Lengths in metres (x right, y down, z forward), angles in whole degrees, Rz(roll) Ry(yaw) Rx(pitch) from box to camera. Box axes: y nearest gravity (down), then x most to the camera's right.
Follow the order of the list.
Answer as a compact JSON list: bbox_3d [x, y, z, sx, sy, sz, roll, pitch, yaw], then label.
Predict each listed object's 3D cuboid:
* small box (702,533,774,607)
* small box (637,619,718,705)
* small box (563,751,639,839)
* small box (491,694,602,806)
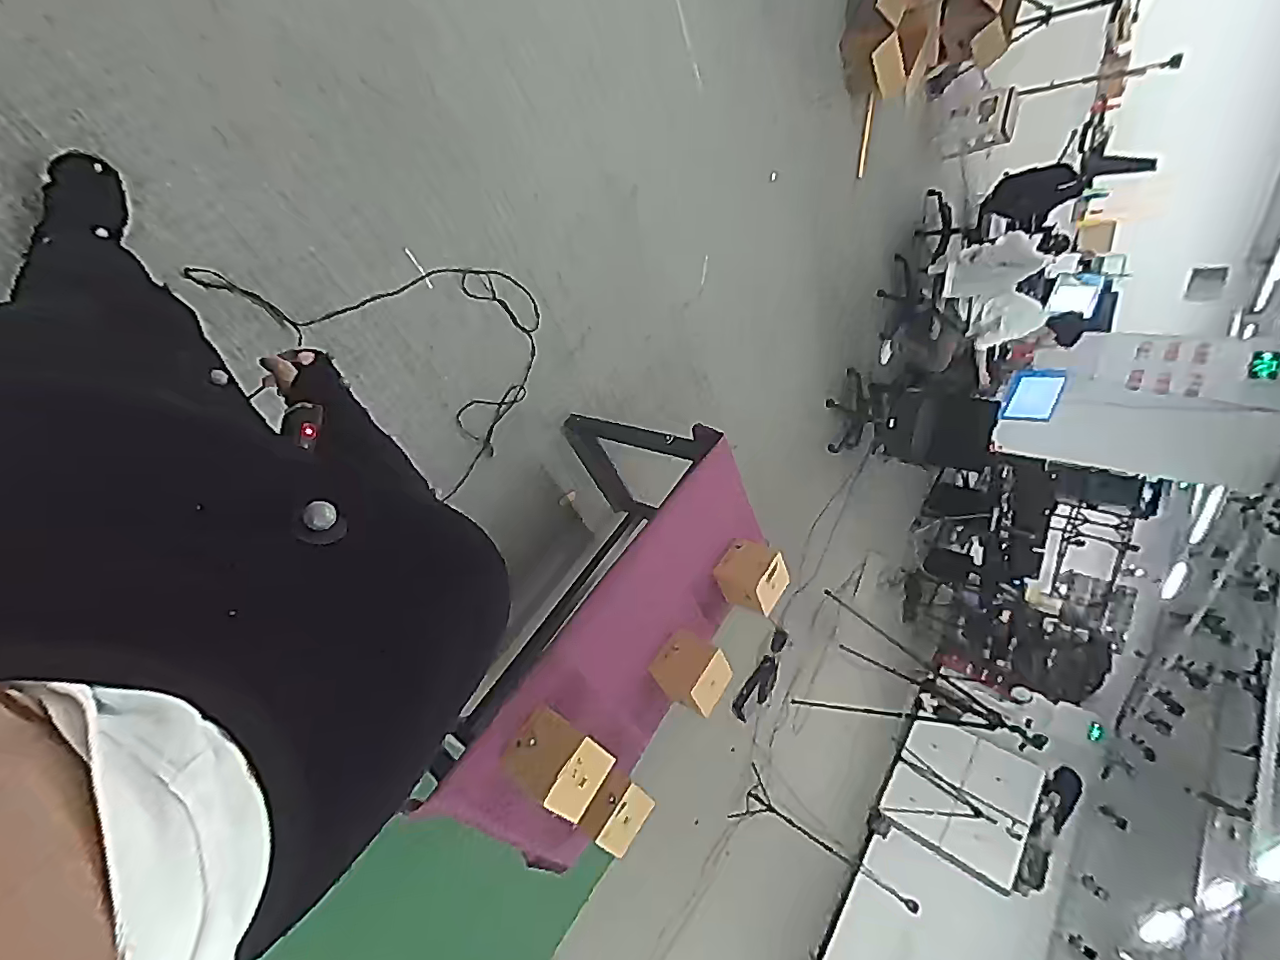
[{"bbox_3d":[0.339,0.304,1.875,0.168,0.176,0.179,-49,136,-25],"label":"small box"},{"bbox_3d":[0.120,0.576,1.729,0.168,0.176,0.179,-49,135,-27],"label":"small box"},{"bbox_3d":[-0.136,0.873,1.538,0.168,0.176,0.179,-51,137,-26],"label":"small box"},{"bbox_3d":[-0.230,0.661,1.338,0.168,0.176,0.179,-52,138,-25],"label":"small box"}]
